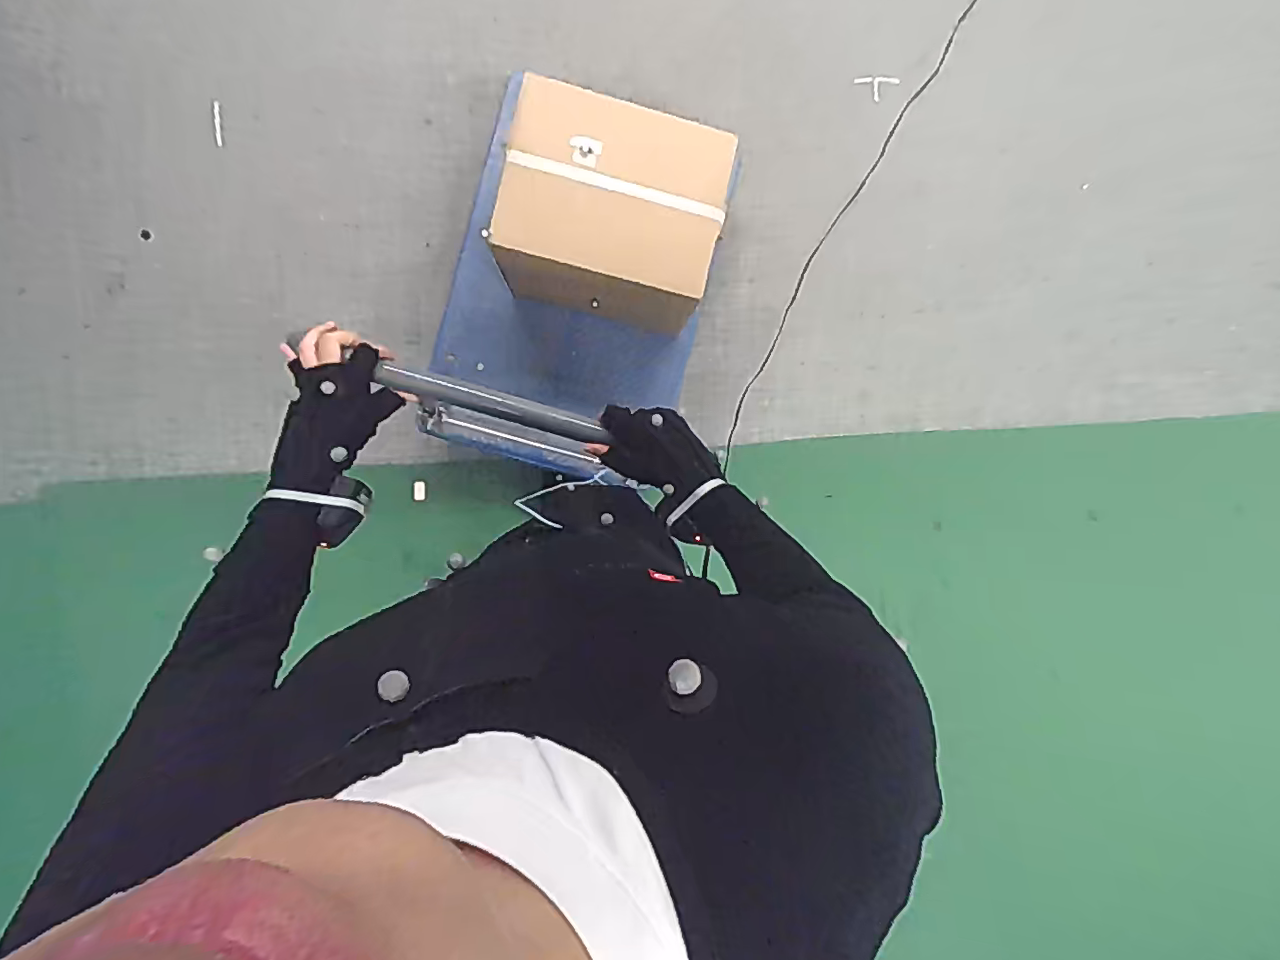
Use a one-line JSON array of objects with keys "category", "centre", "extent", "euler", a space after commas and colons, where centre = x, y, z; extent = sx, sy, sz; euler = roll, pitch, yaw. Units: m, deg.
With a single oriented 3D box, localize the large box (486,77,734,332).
[{"category": "large box", "centre": [-0.060, -0.536, 1.131], "extent": [0.408, 0.320, 0.320], "euler": [14, 90, -5]}]
